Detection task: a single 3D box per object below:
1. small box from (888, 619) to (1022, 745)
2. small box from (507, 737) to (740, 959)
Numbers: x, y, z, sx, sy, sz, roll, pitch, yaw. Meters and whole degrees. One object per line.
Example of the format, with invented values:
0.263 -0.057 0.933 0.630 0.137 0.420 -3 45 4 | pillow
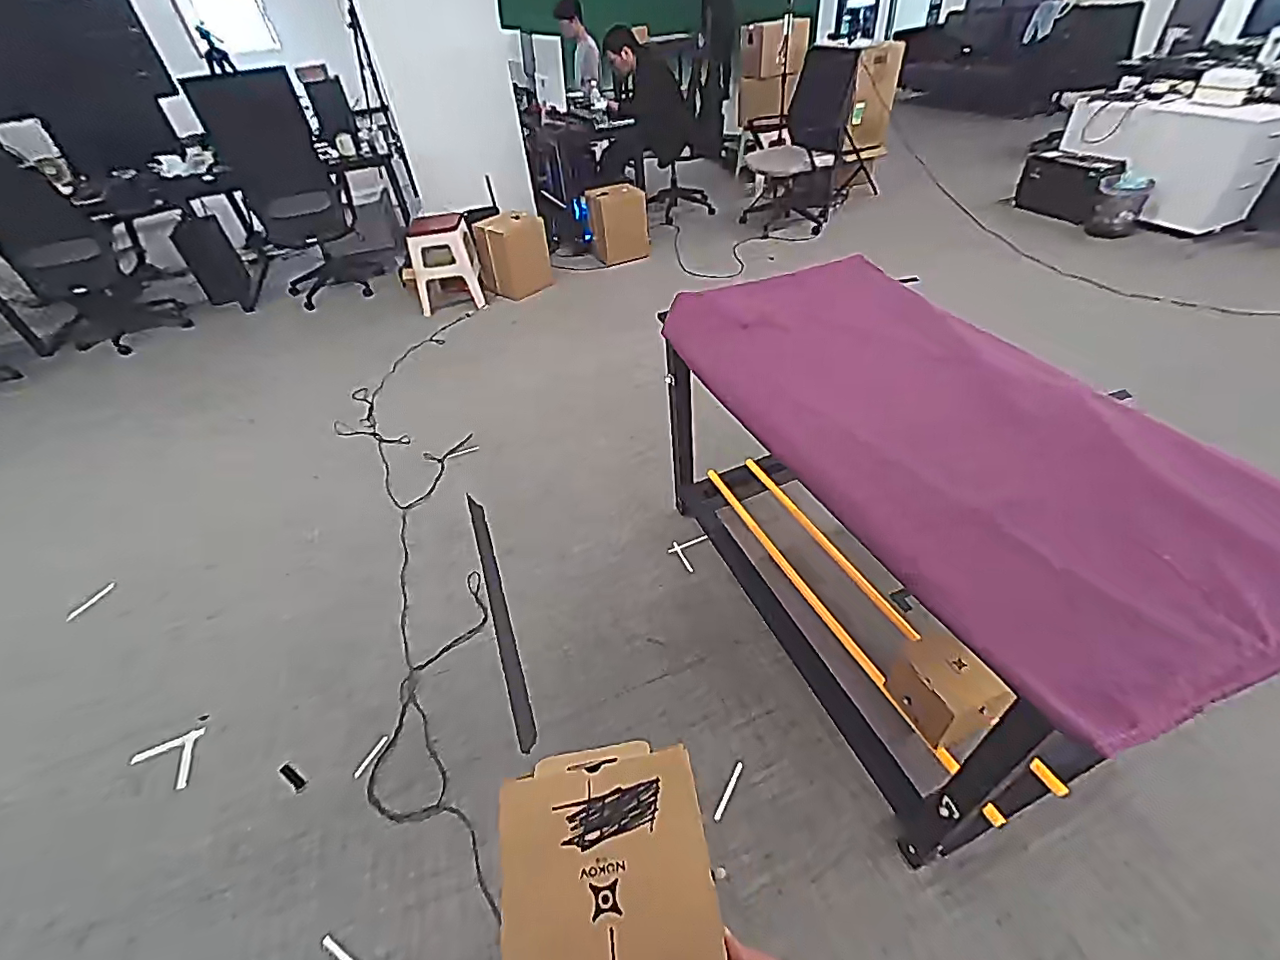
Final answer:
0.680 0.446 1.193 0.179 0.176 0.168 -20 43 -12 | small box
-0.015 0.354 0.478 0.168 0.176 0.179 -11 53 -3 | small box
